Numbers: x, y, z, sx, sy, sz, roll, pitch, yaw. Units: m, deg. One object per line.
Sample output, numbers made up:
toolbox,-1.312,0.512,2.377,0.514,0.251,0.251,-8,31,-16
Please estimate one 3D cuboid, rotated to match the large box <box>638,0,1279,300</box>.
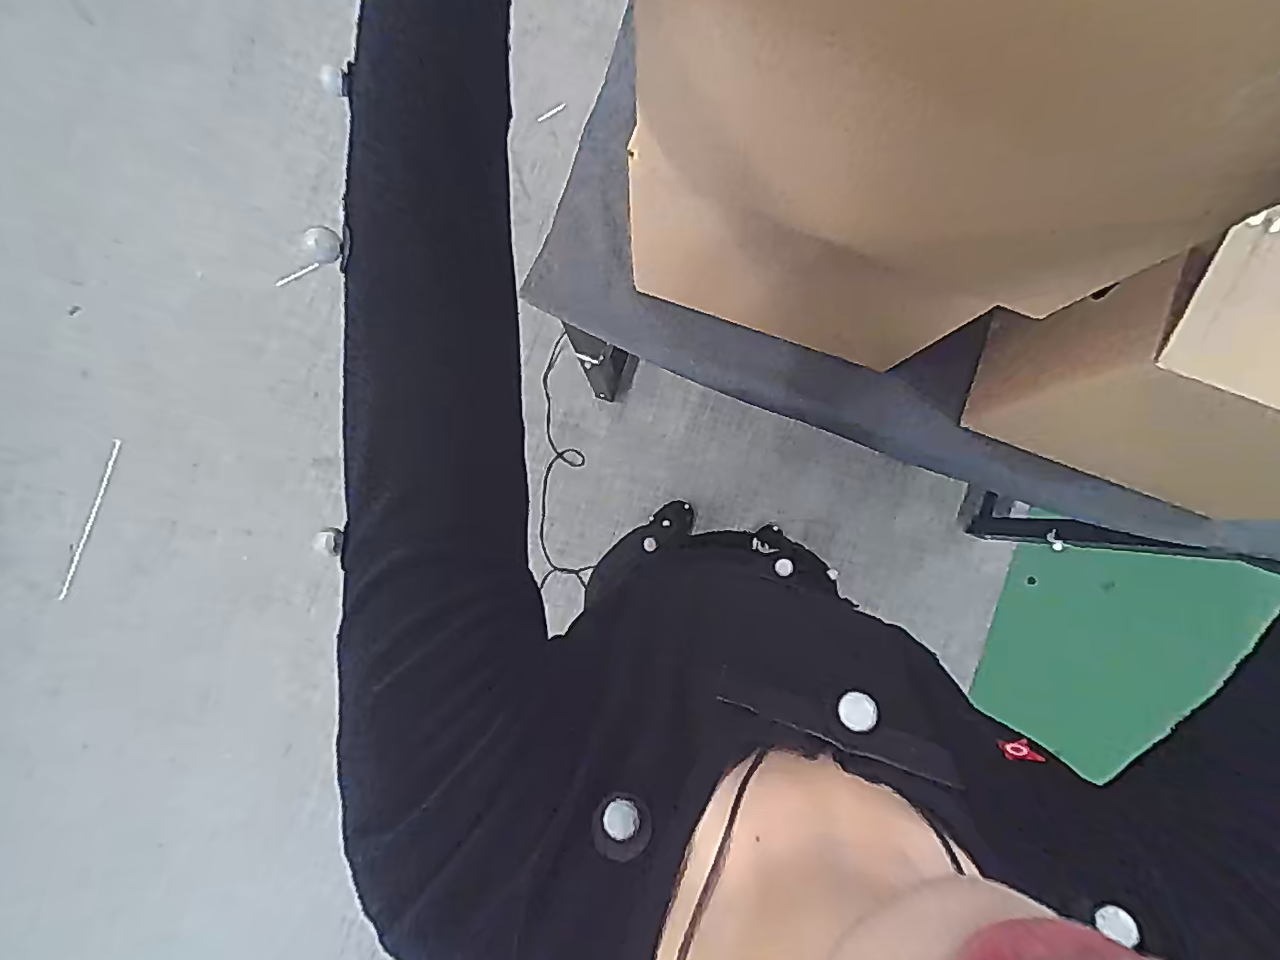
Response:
large box,0.235,-0.380,0.371,0.408,0.320,0.320,20,88,0
